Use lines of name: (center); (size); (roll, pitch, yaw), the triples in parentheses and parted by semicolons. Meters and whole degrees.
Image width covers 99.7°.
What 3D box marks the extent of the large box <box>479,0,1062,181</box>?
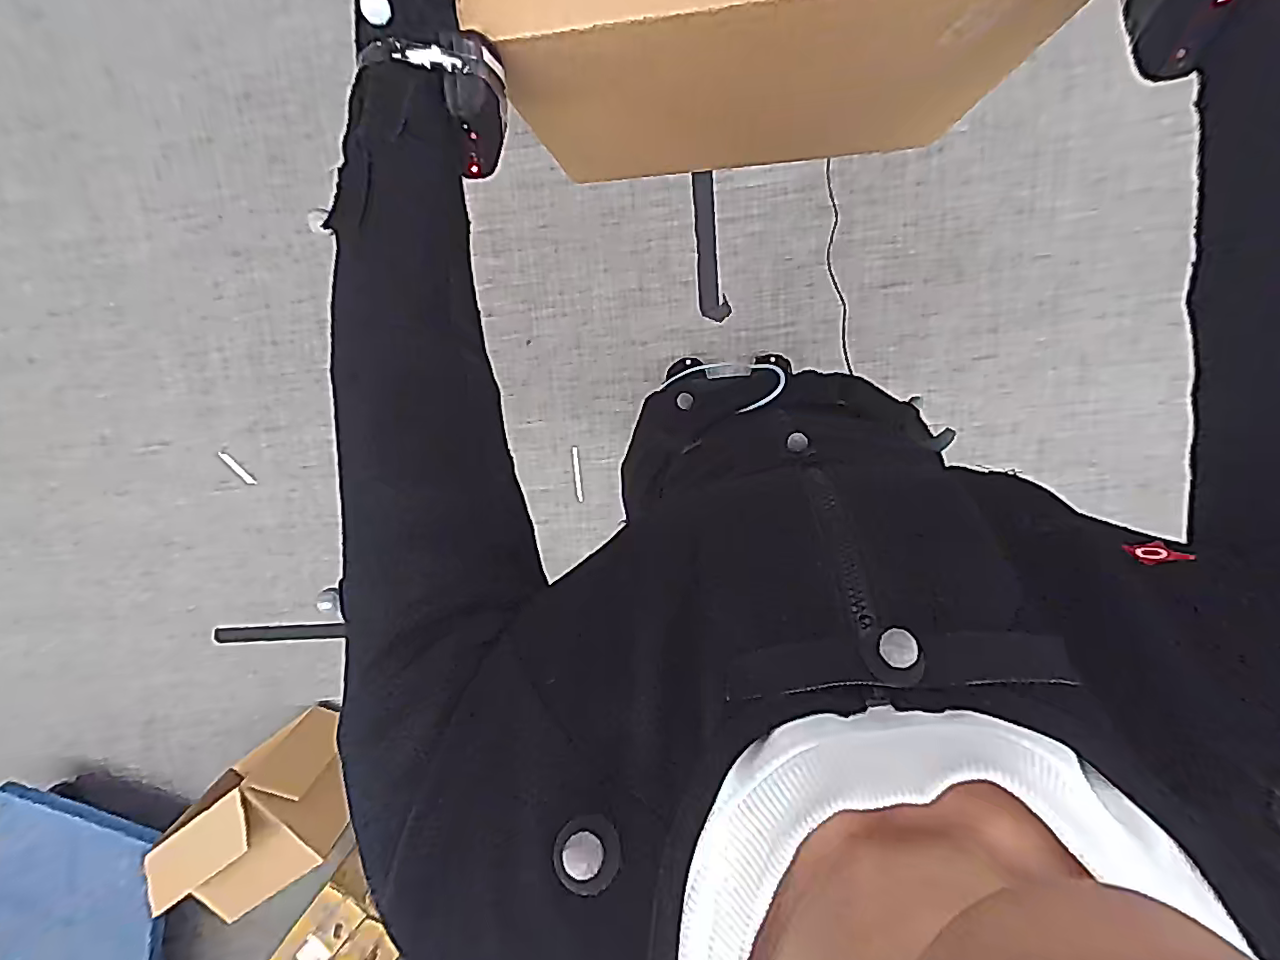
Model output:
large box: (0.093, -0.480, 0.443); (0.408, 0.320, 0.320); (-3, 104, 6)
